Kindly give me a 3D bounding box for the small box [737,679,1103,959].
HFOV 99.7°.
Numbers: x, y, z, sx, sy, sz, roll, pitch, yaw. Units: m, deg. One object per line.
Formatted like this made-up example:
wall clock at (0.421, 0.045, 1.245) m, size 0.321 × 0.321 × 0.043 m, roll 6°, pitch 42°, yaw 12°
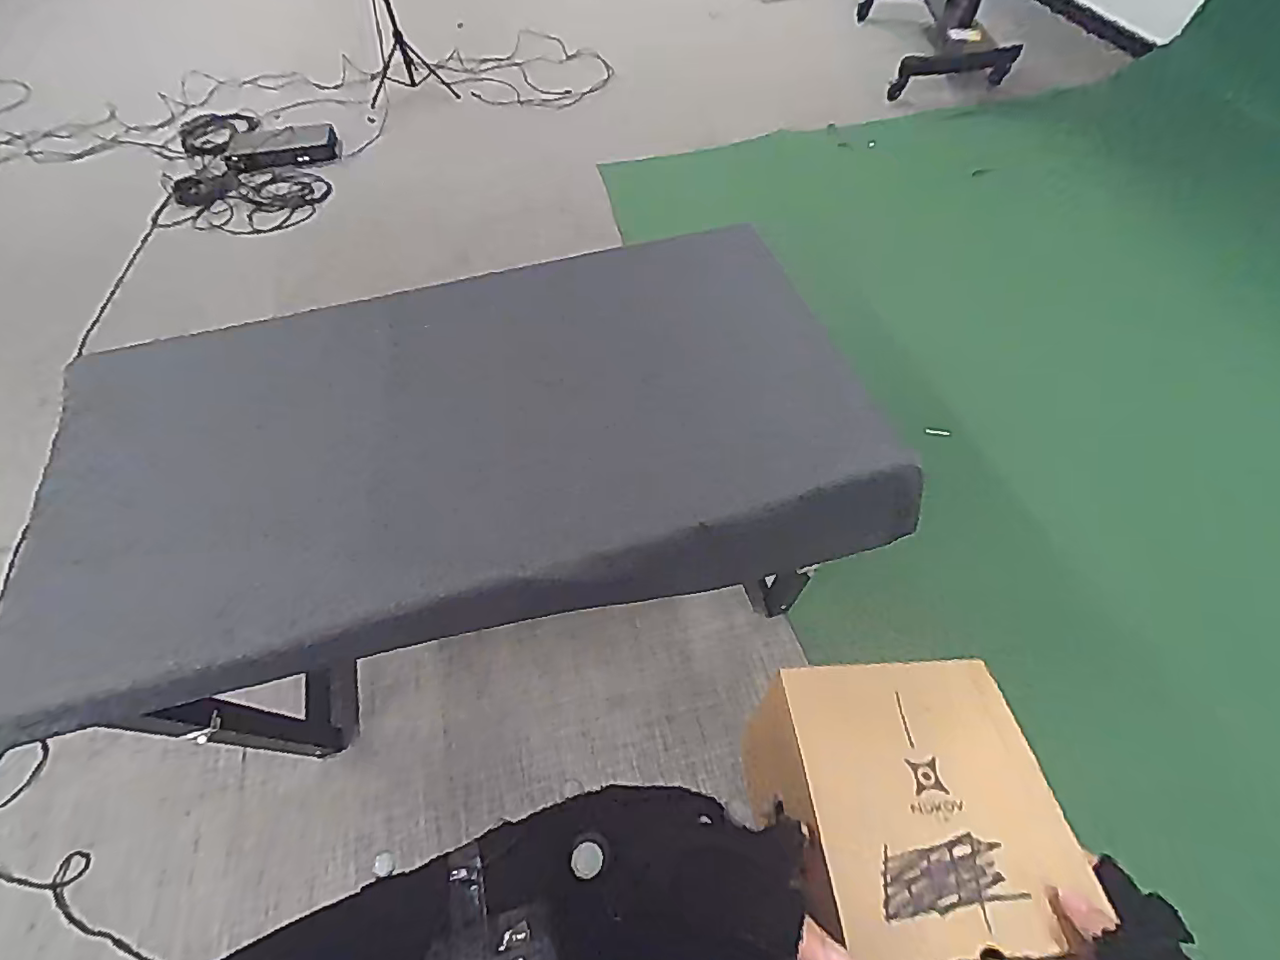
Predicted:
small box at (0.182, 0.276, 0.422) m, size 0.168 × 0.176 × 0.179 m, roll -1°, pitch 46°, yaw -5°
